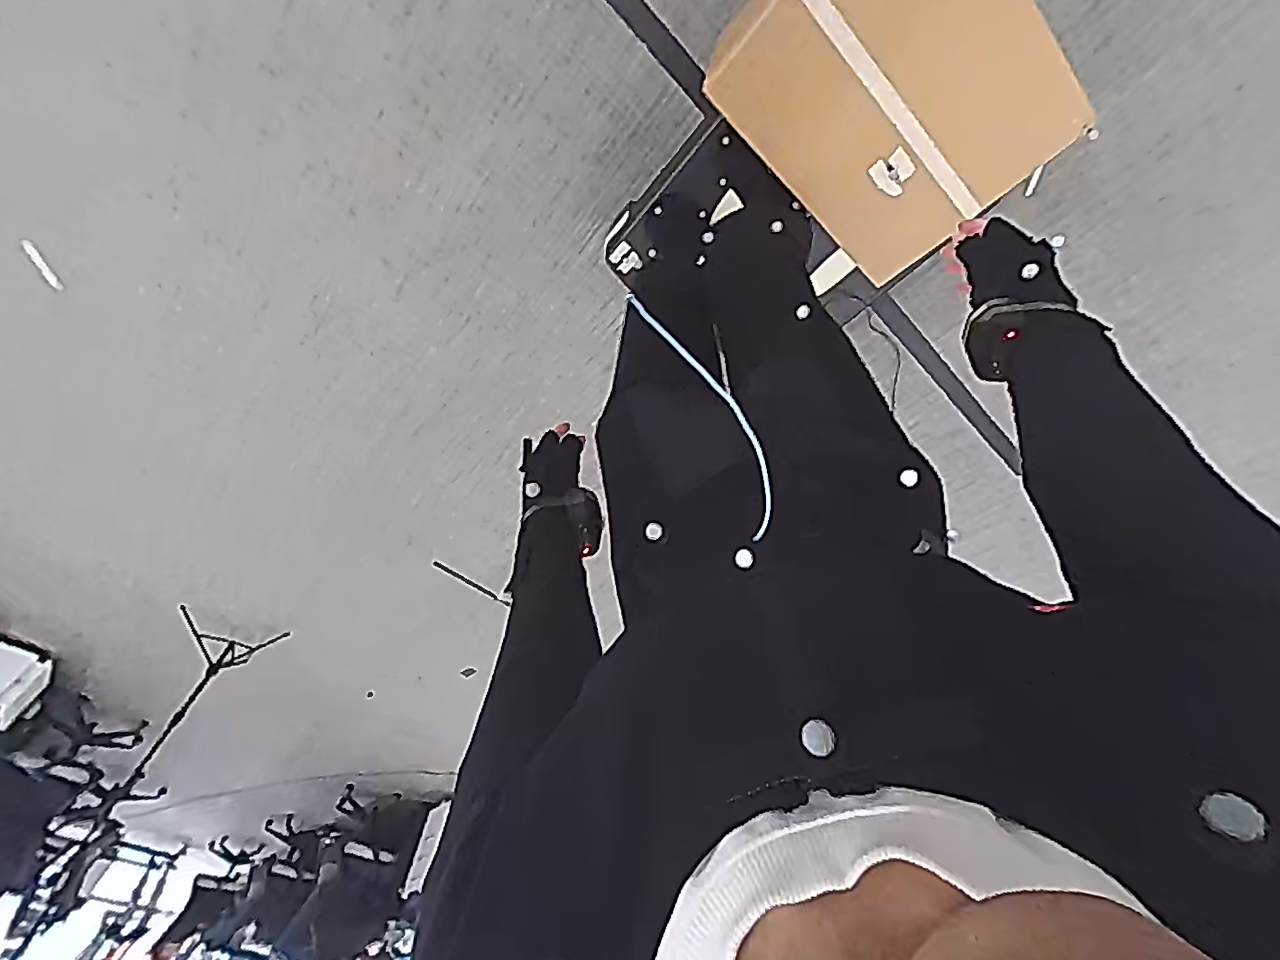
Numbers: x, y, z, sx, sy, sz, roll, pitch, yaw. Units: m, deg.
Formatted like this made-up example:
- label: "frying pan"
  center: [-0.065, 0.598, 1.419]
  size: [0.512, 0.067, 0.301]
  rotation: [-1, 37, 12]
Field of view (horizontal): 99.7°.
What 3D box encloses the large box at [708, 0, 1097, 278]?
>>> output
- label: "large box"
  center: [0.354, -0.601, 0.804]
  size: [0.408, 0.320, 0.320]
  rotation: [34, 134, -23]
